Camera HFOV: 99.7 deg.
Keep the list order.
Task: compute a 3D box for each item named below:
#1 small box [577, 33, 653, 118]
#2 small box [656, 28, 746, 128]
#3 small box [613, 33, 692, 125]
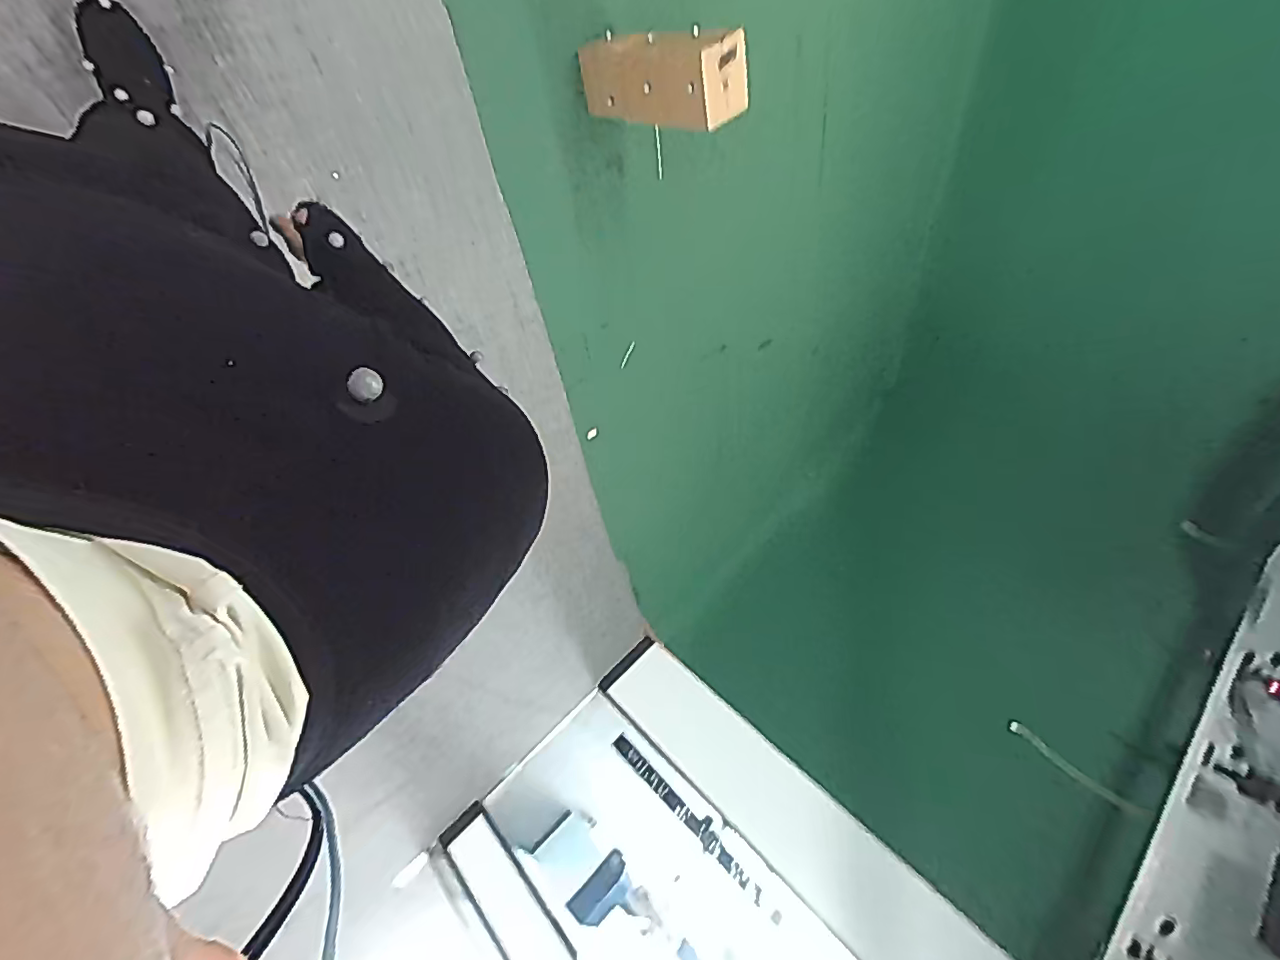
[{"bbox_3d":[-0.064,-1.216,1.621,0.168,0.176,0.179,-38,141,-23],"label":"small box"},{"bbox_3d":[0.161,-1.067,1.437,0.168,0.176,0.179,-41,142,-19],"label":"small box"},{"bbox_3d":[0.049,-1.139,1.534,0.168,0.176,0.179,-40,140,-21],"label":"small box"}]
